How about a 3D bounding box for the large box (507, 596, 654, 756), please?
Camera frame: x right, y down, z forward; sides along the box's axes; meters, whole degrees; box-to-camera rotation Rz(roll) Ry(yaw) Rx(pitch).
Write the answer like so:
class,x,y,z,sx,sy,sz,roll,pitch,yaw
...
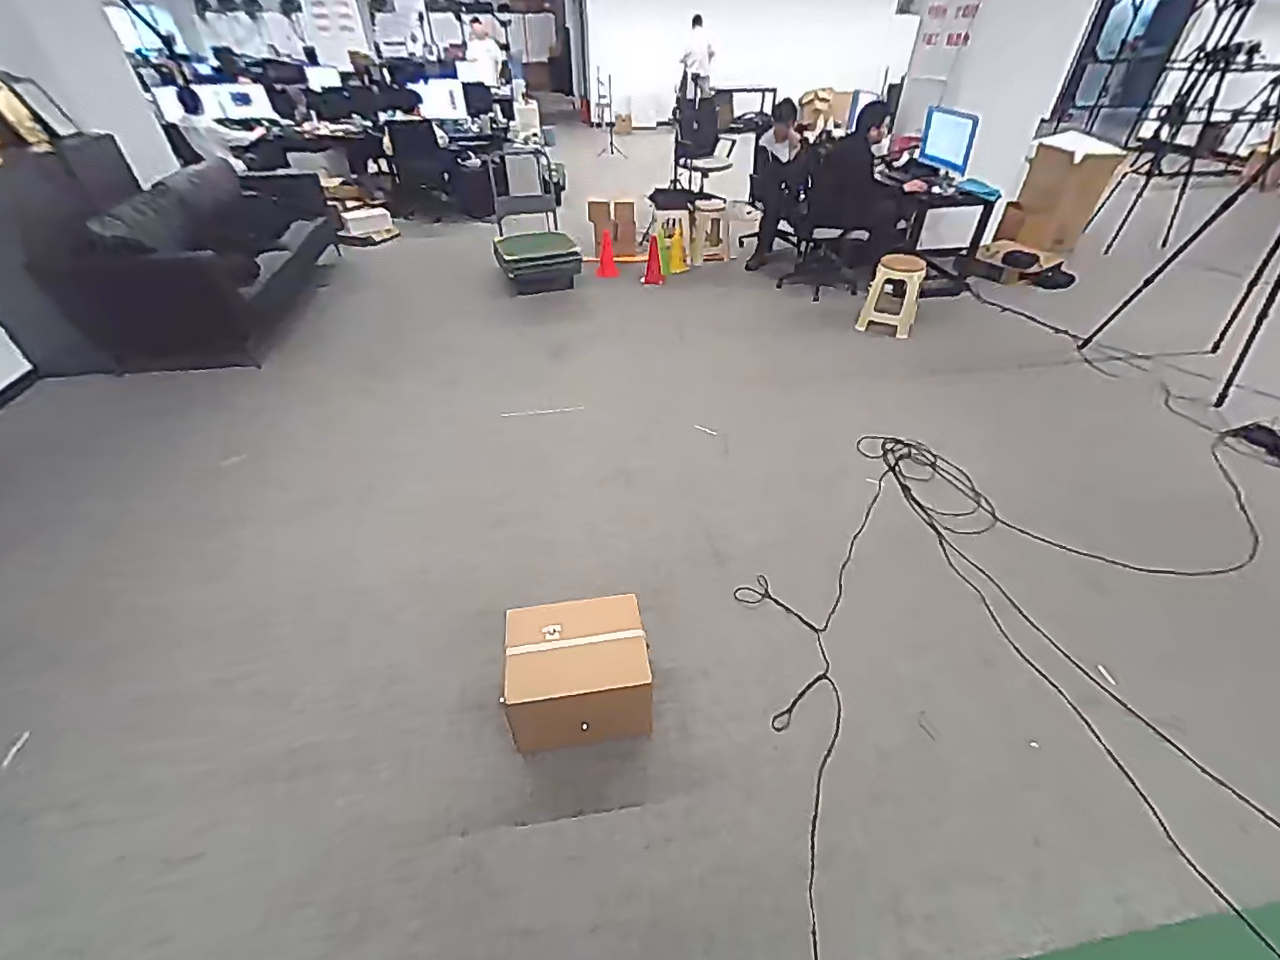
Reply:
class,x,y,z,sx,sy,sz,roll,pitch,yaw
large box,-0.181,0.605,1.673,0.408,0.320,0.320,-8,40,-7
